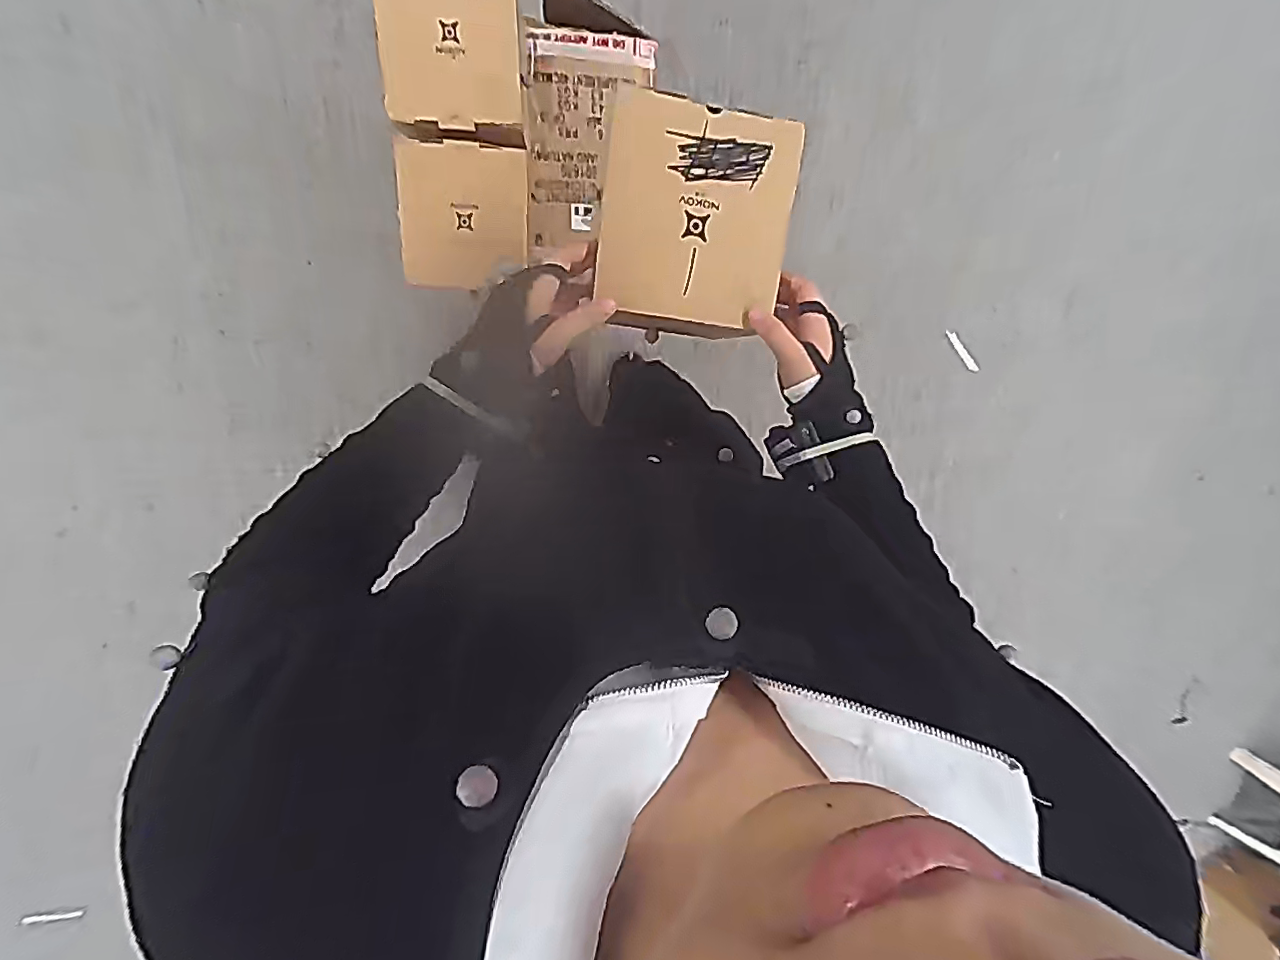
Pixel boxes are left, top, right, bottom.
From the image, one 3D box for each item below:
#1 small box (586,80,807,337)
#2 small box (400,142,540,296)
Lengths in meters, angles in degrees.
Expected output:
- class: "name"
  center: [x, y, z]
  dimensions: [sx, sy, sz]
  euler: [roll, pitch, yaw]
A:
- class: "small box"
  center: [0.039, -0.244, 0.538]
  dimensions: [0.168, 0.176, 0.179]
  euler: [6, 102, -10]
- class: "small box"
  center: [-0.236, -0.365, 0.788]
  dimensions: [0.168, 0.176, 0.179]
  euler: [0, 109, -7]
